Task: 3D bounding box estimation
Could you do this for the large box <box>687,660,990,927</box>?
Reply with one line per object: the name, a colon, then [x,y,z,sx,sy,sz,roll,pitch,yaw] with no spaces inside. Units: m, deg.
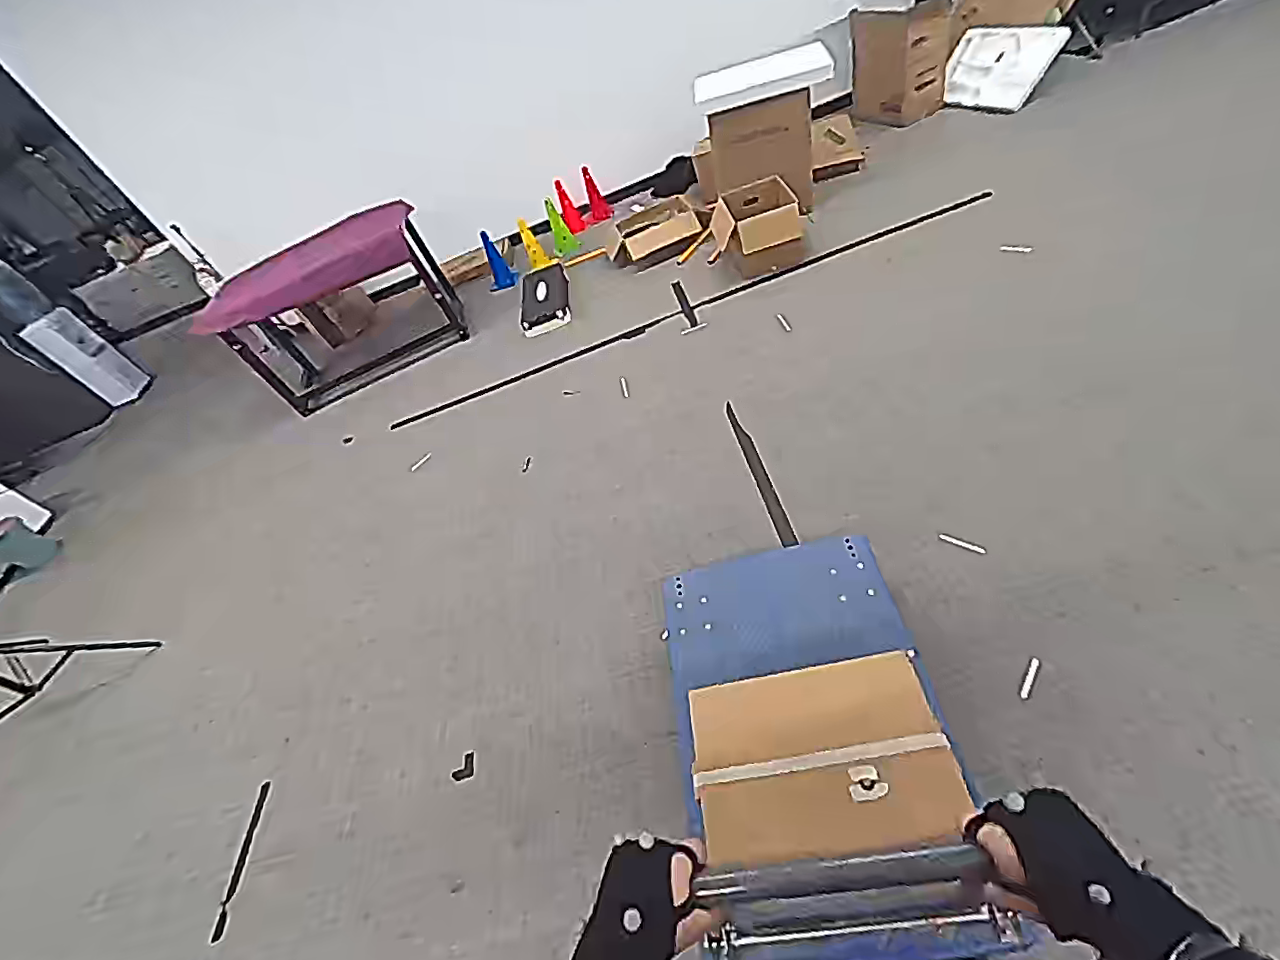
large box: [0.329,0.574,0.979,0.408,0.320,0.320,-15,44,10]
